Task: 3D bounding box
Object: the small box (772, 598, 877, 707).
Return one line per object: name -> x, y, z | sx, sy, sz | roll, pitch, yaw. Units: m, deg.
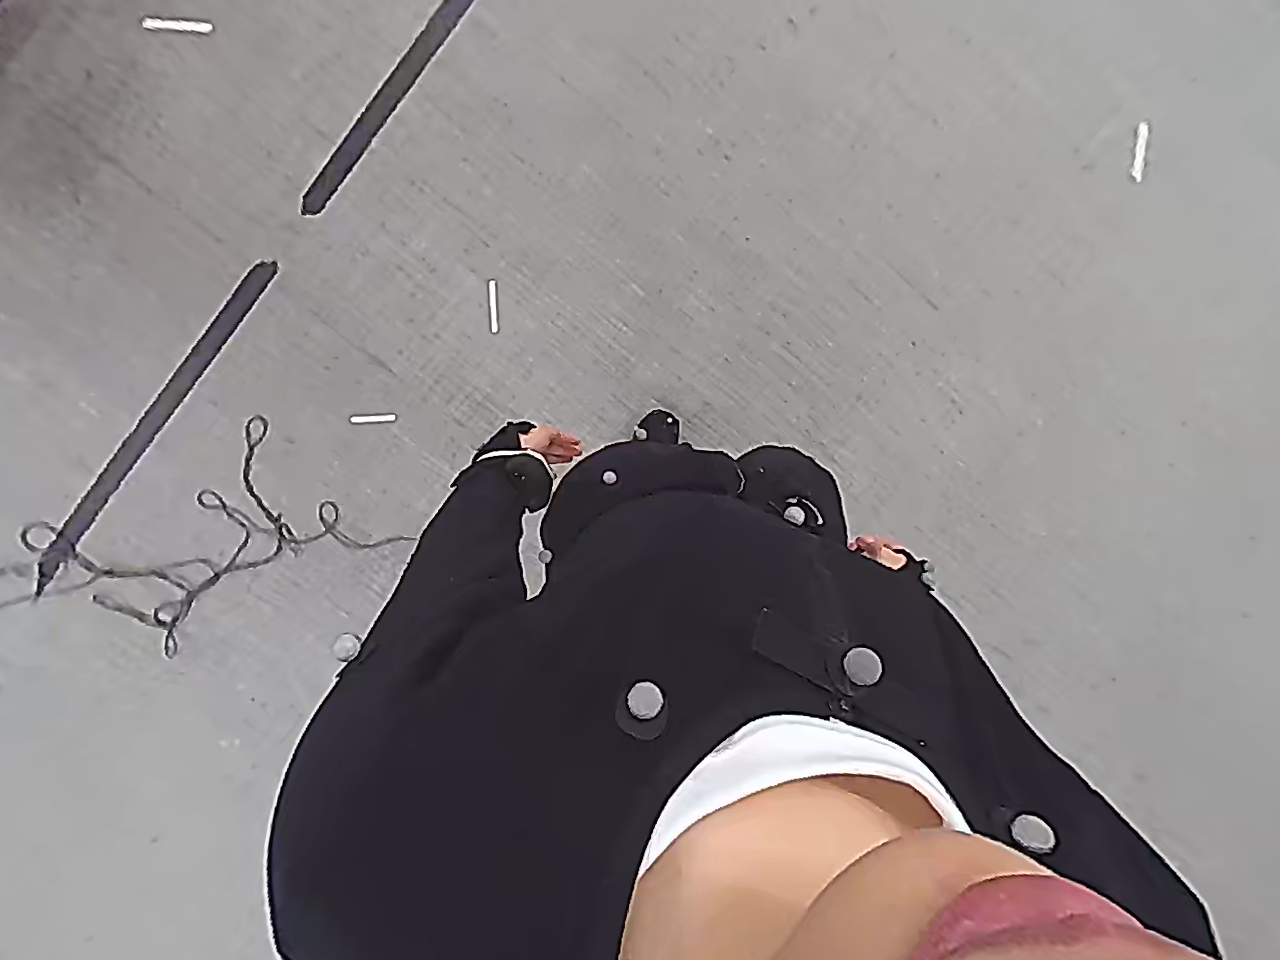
small box -> 0.476, 0.442, 1.388 | 0.179, 0.176, 0.168 | 36, 95, -9
